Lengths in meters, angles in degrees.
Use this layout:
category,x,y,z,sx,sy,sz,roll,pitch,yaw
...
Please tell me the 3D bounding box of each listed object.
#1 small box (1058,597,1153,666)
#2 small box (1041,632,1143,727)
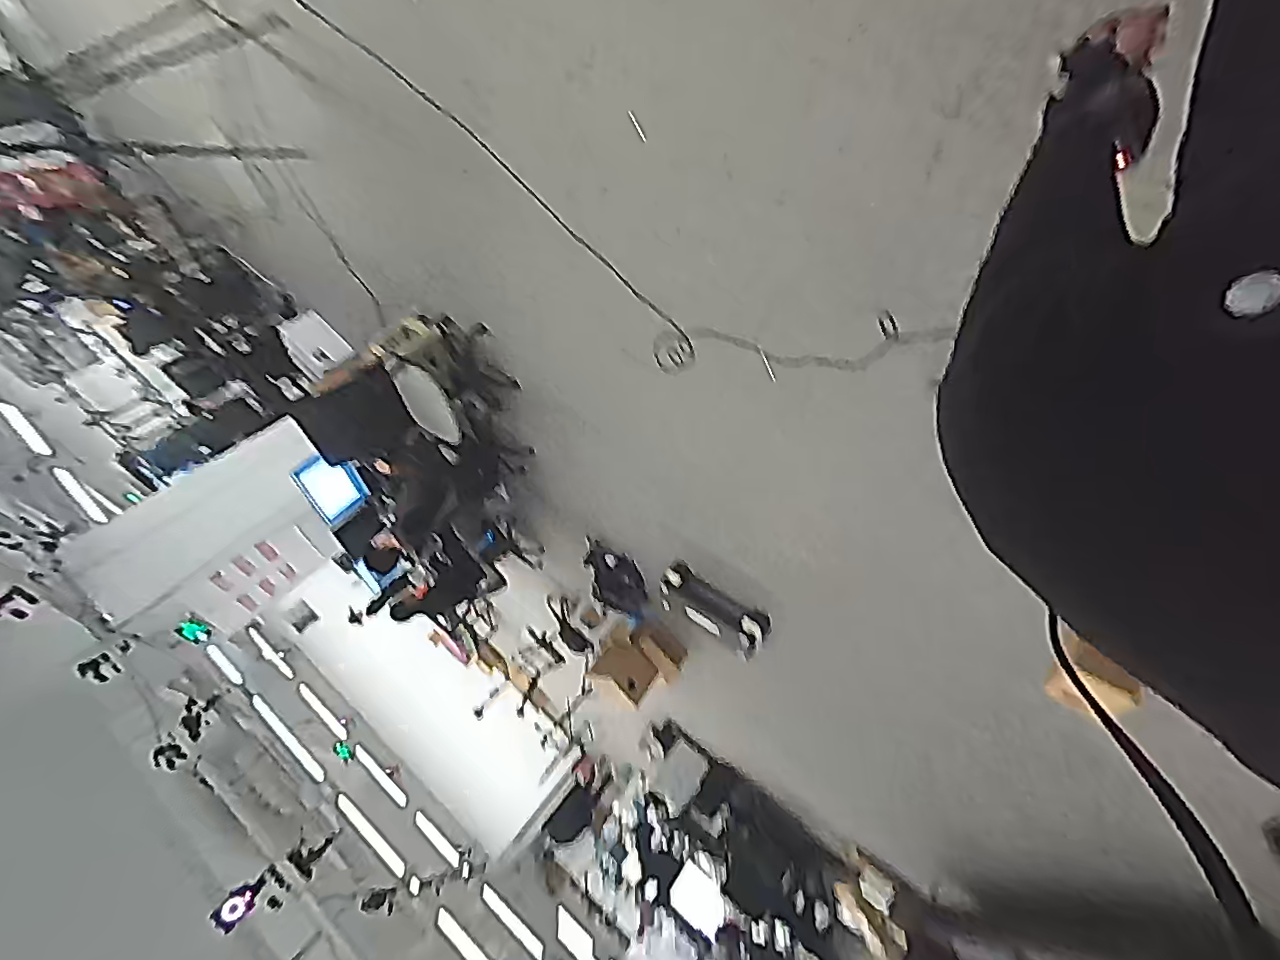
category,x,y,z,sx,sy,sz,roll,pitch,yaw
small box,1.467,0.502,1.705,0.168,0.176,0.179,30,148,28
small box,1.359,0.596,1.623,0.168,0.176,0.179,30,145,27
